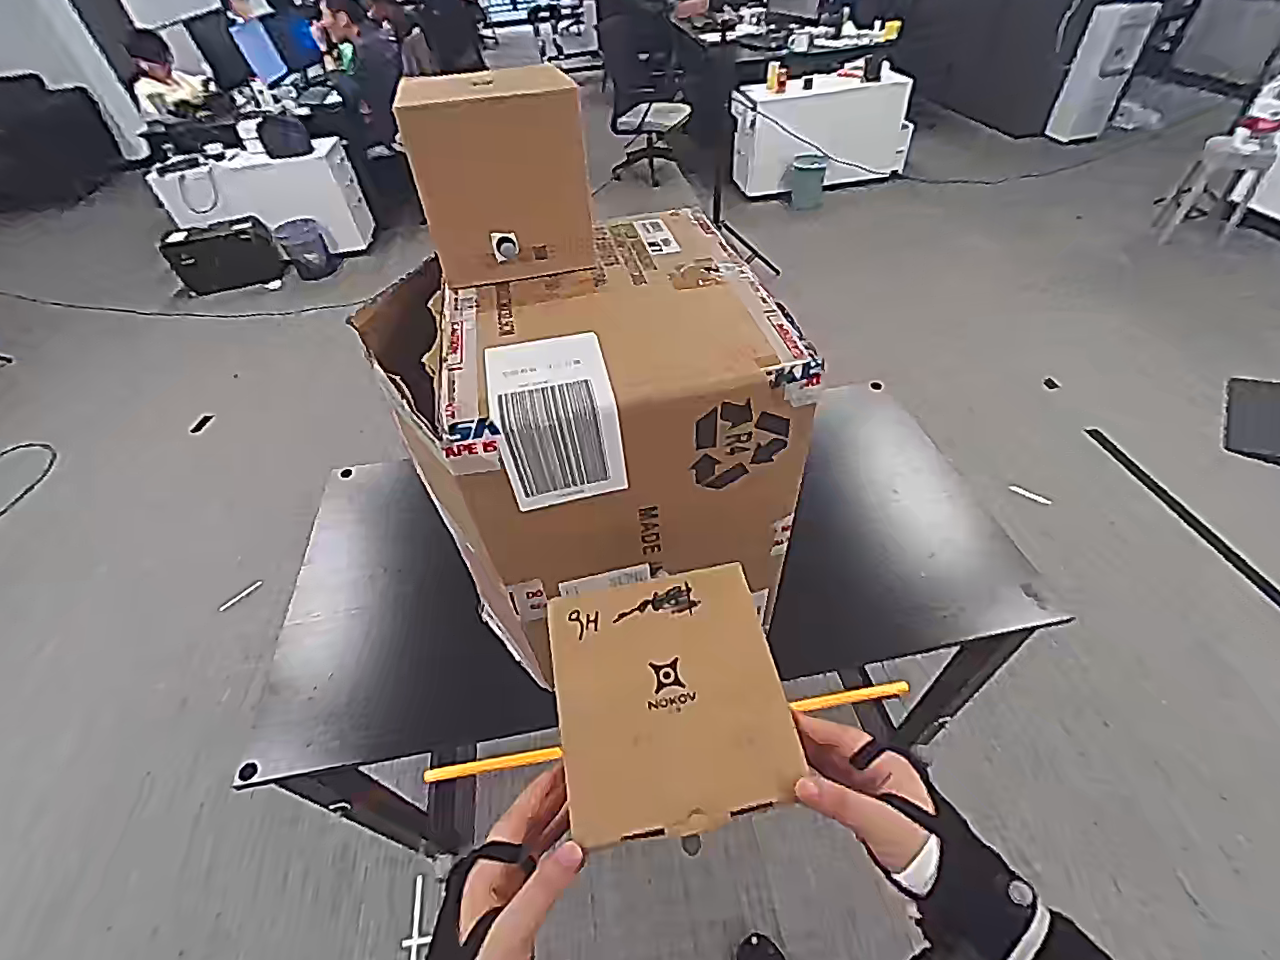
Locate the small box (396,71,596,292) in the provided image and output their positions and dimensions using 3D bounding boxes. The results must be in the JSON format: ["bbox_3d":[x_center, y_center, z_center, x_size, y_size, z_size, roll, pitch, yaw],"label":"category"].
[{"bbox_3d":[-0.151,-0.330,0.597,0.168,0.176,0.179,-14,46,-8],"label":"small box"}]
